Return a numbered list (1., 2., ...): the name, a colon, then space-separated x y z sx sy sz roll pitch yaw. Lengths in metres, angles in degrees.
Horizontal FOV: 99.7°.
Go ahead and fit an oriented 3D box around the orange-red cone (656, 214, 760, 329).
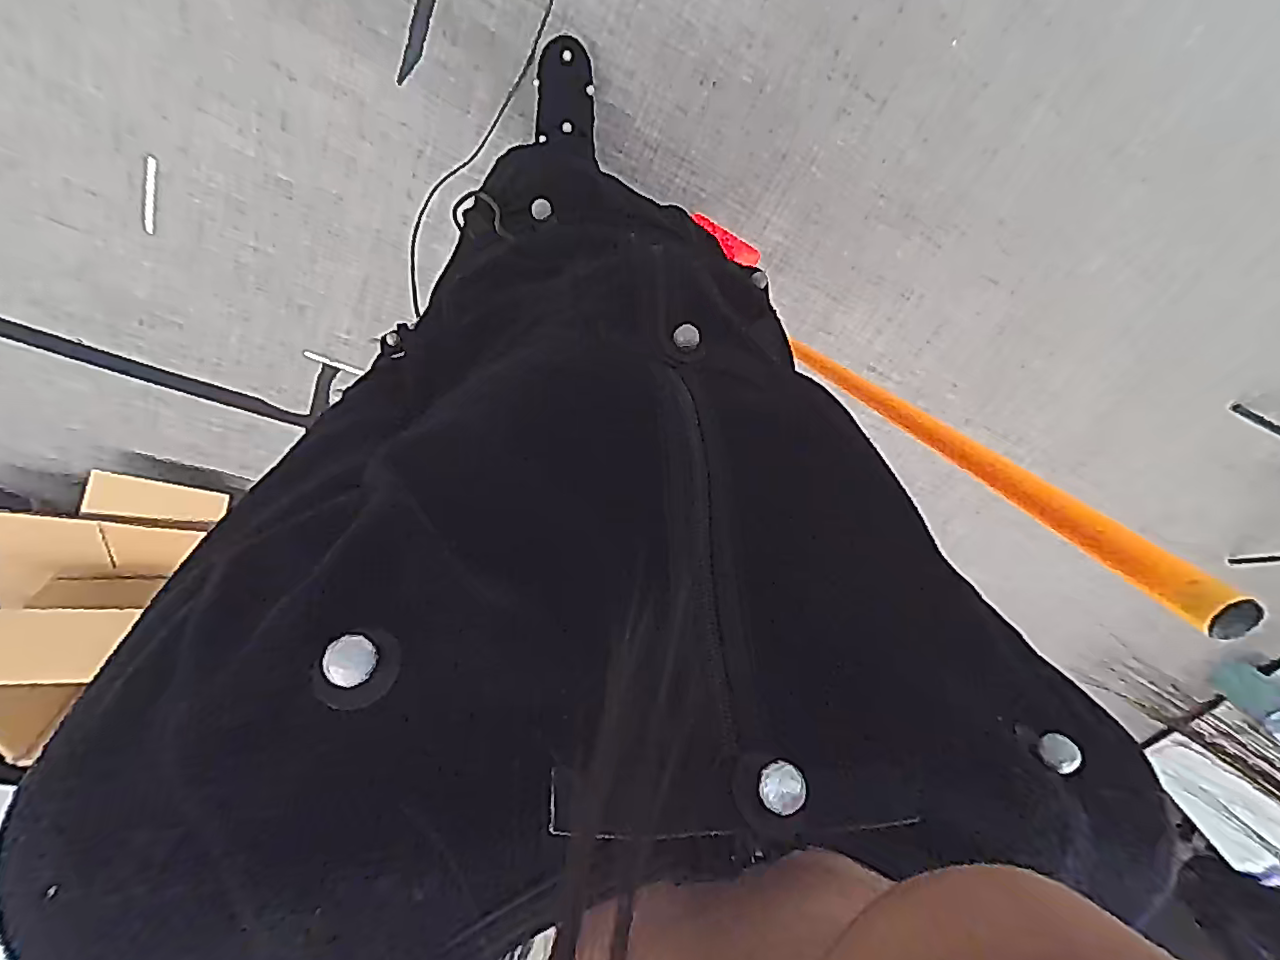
1. orange-red cone: 0.178 -0.395 1.140 0.198 0.360 0.199 23 120 -22
